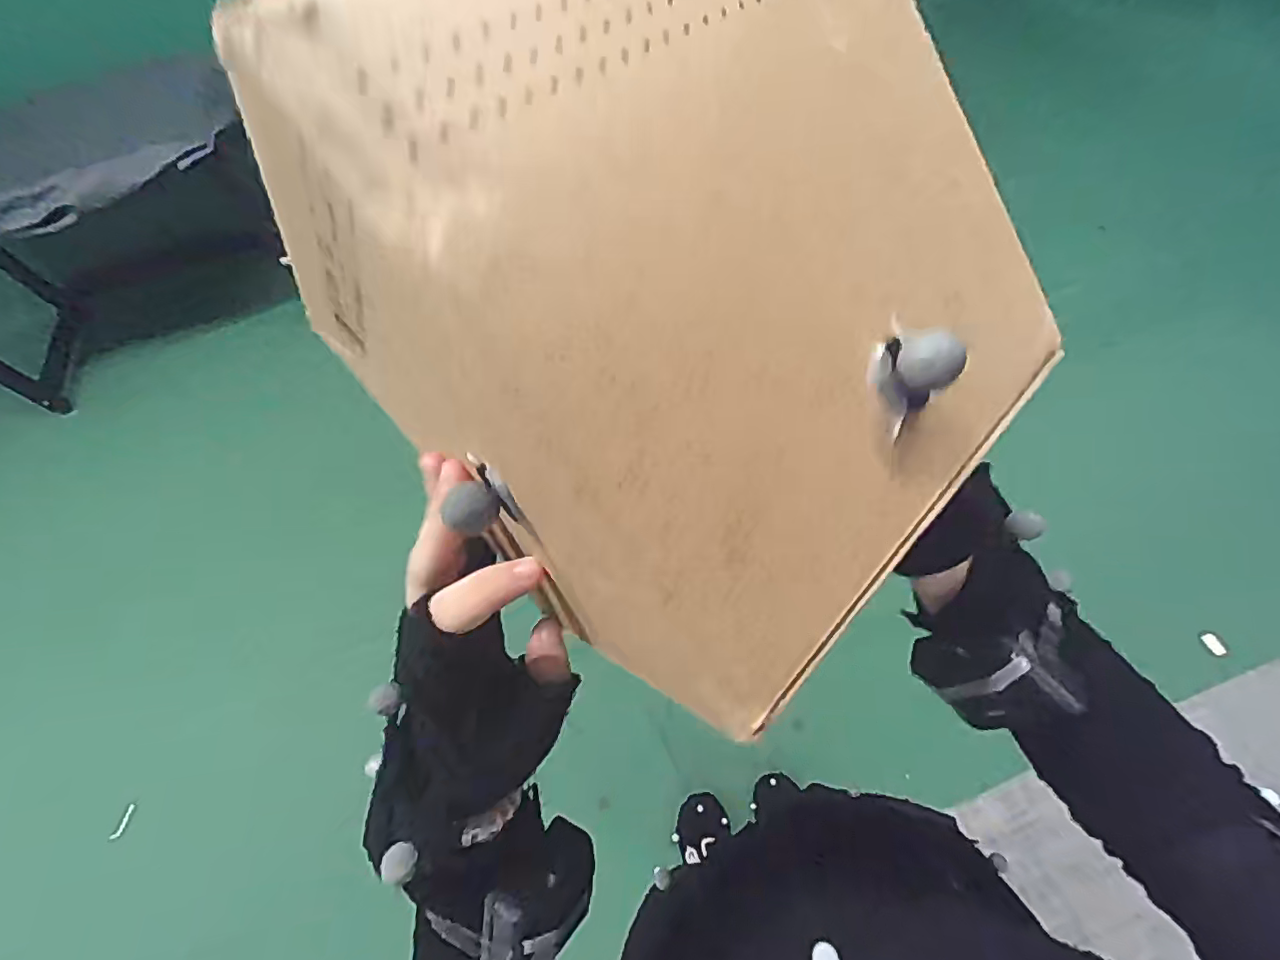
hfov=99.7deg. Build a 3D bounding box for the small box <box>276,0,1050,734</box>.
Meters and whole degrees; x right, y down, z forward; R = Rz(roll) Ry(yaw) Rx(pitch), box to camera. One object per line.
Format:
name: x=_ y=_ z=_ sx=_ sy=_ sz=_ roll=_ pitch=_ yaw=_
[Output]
small box: x=-0.001 y=-0.054 z=0.207 sx=0.179 sy=0.168 sz=0.176 roll=-41 pitch=105 yaw=-20
